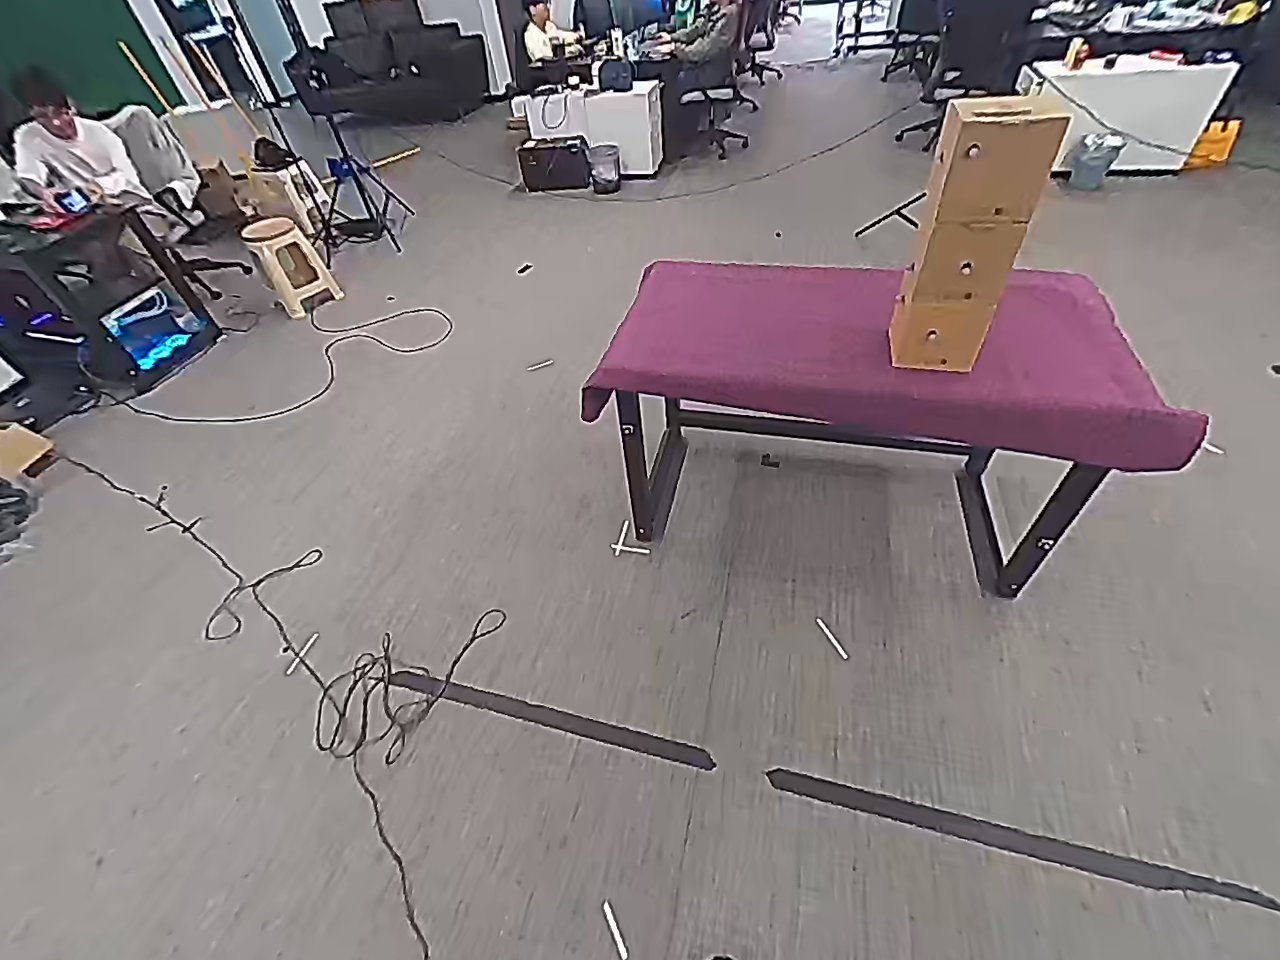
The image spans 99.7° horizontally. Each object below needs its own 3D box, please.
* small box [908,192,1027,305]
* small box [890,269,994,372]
[{"bbox_3d":[0.676,-0.485,1.136,0.168,0.176,0.179,8,48,14],"label":"small box"},{"bbox_3d":[0.688,-0.368,1.250,0.168,0.176,0.179,7,47,14],"label":"small box"}]
